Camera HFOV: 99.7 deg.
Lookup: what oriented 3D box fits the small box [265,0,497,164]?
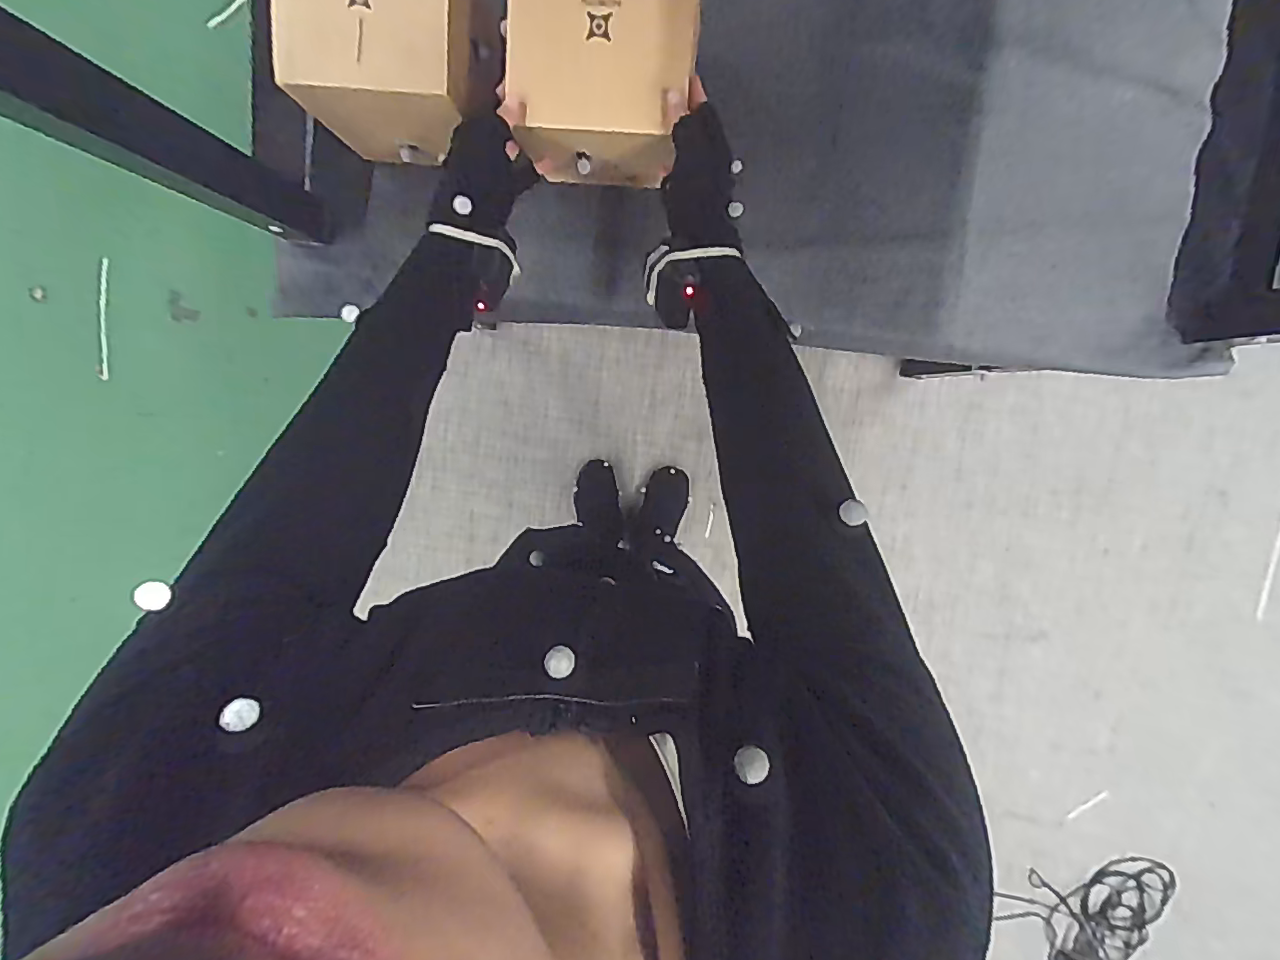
[{"bbox_3d":[-0.254,-0.465,0.565,0.168,0.176,0.179,4,99,0],"label":"small box"}]

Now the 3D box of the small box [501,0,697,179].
[{"bbox_3d":[-0.031,-0.422,0.541,0.168,0.176,0.179,5,102,3],"label":"small box"}]
